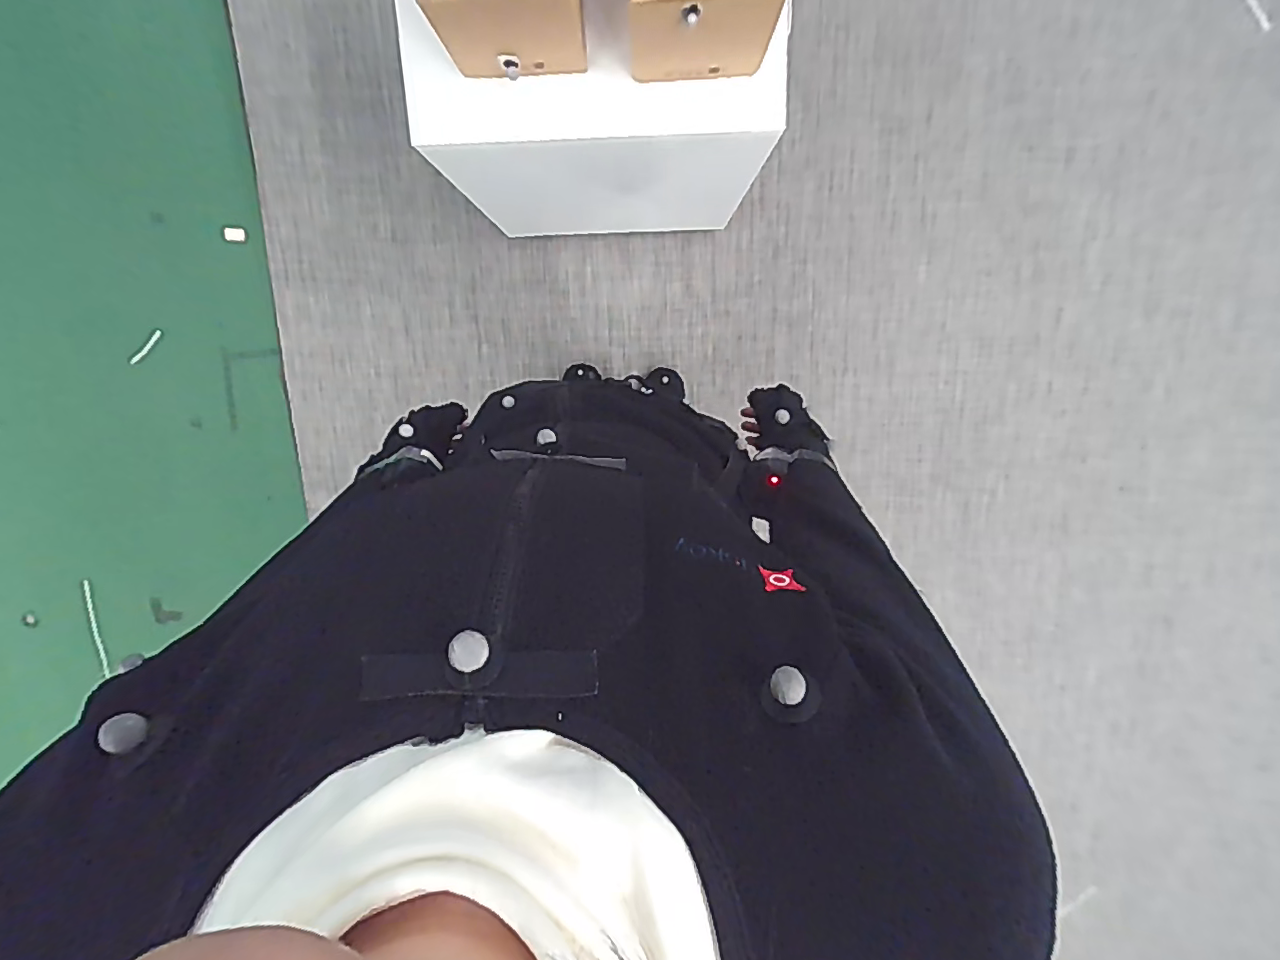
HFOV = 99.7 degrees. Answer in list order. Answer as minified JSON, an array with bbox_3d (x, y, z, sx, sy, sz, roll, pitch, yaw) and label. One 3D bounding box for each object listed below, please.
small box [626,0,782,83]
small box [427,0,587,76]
[{"bbox_3d":[0.066,-0.598,0.621,0.168,0.176,0.179,-2,101,1],"label":"small box"},{"bbox_3d":[-0.154,-0.600,0.608,0.168,0.176,0.179,-4,103,2],"label":"small box"}]
